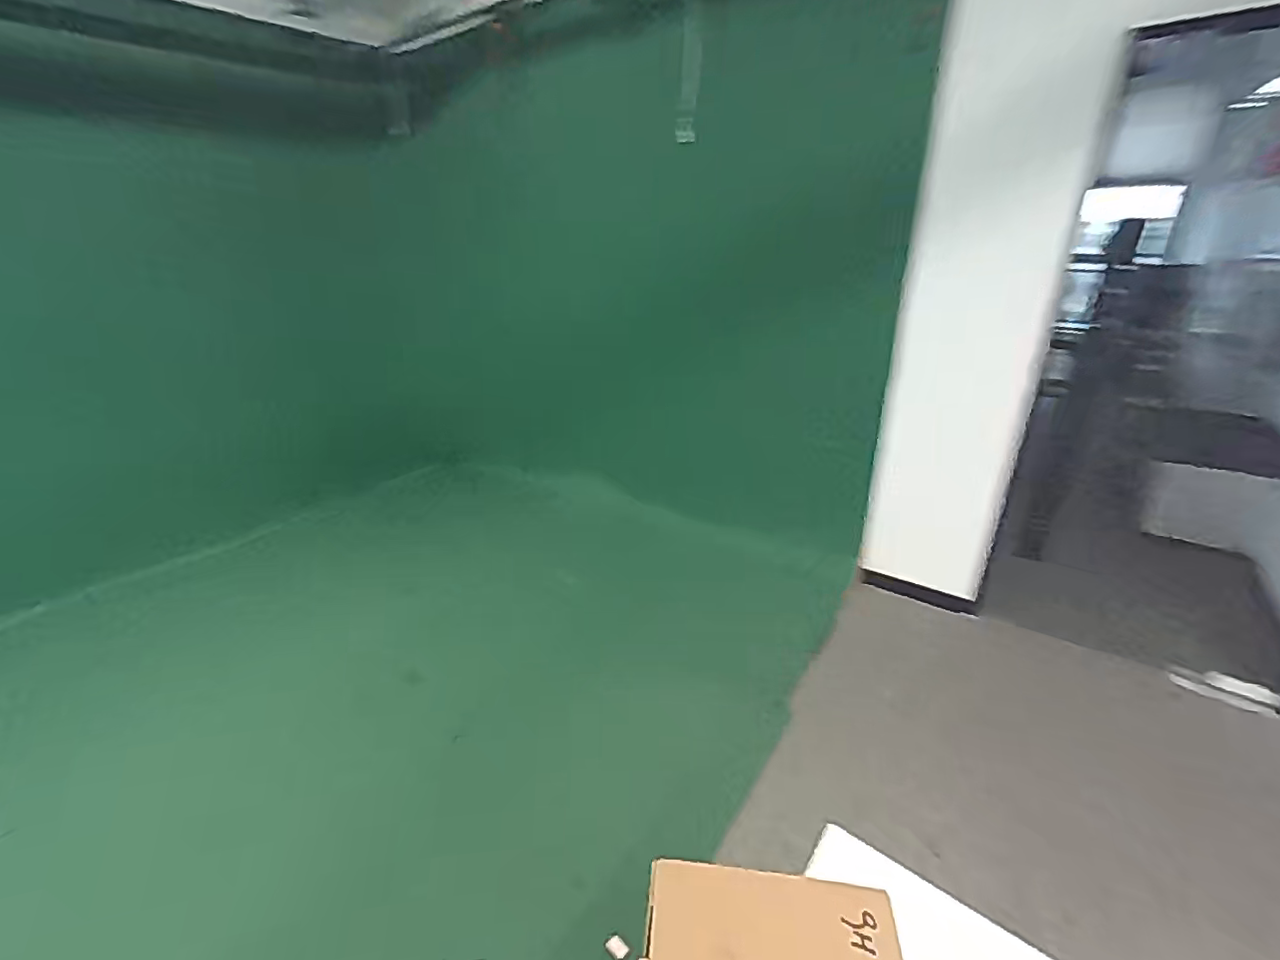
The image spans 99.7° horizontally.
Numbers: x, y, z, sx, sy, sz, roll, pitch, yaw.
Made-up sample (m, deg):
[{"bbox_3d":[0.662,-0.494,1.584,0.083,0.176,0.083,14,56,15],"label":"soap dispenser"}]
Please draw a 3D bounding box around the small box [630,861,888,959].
[{"bbox_3d":[0.077,0.407,0.384,0.179,0.176,0.168,4,35,4],"label":"small box"}]
